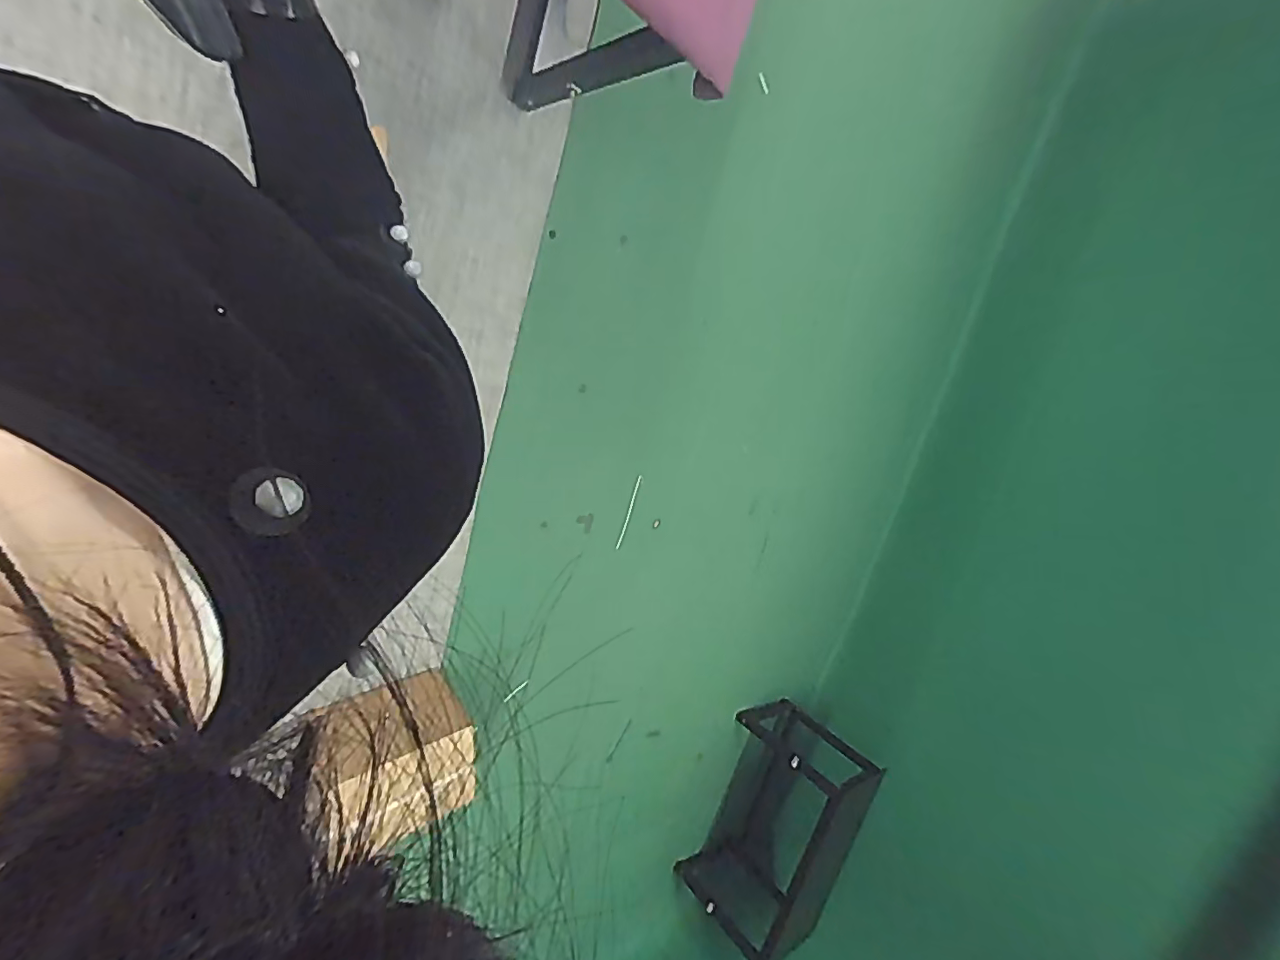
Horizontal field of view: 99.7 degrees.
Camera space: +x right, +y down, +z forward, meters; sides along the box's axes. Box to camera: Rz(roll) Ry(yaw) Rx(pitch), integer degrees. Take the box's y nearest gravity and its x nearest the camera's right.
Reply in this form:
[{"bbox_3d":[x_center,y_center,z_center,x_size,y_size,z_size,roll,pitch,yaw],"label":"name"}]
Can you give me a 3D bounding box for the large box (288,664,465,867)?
[{"bbox_3d":[-0.790,0.833,1.643,0.408,0.320,0.320,-12,118,-40],"label":"large box"}]
